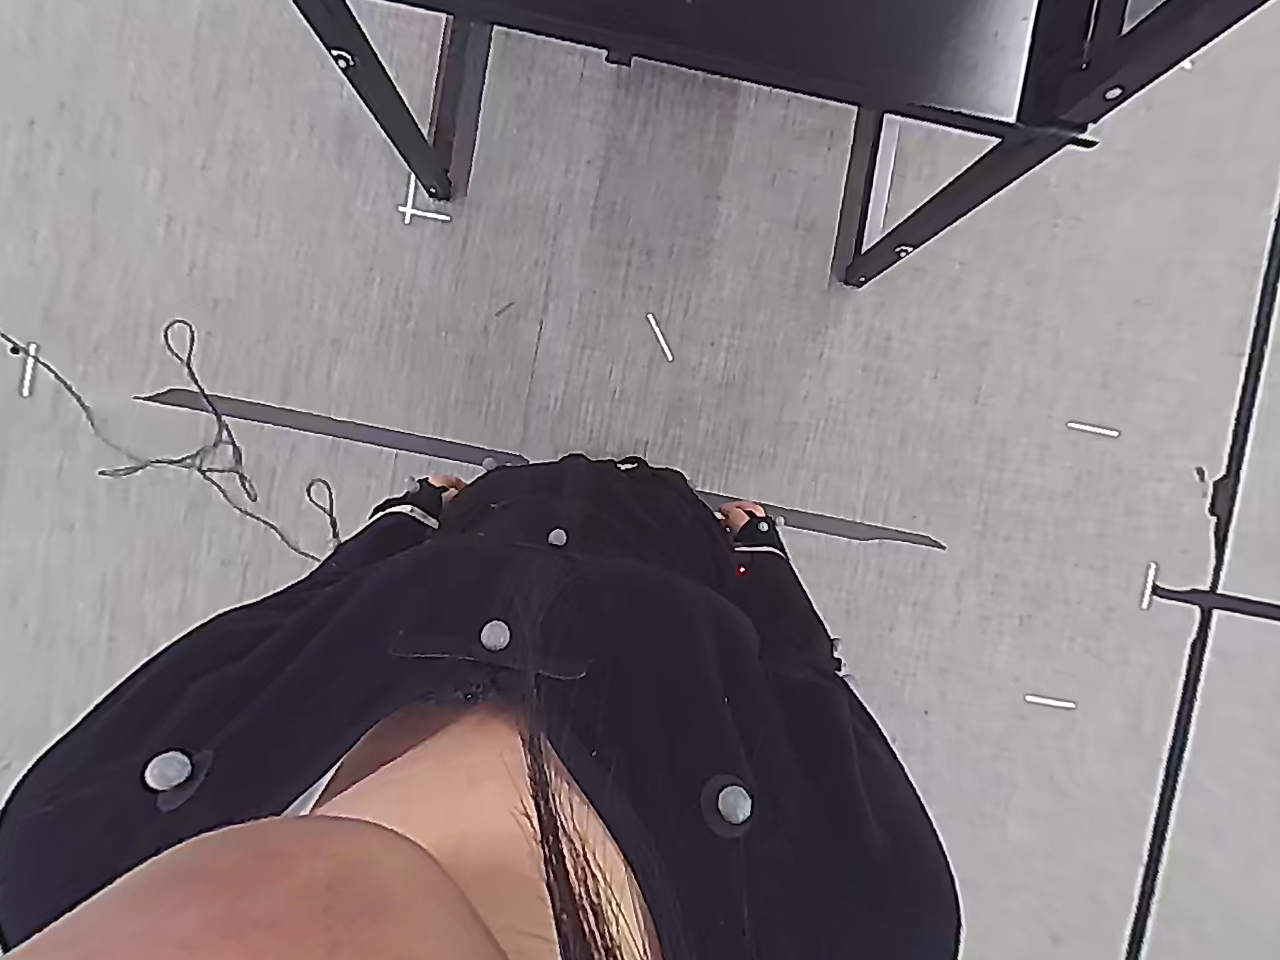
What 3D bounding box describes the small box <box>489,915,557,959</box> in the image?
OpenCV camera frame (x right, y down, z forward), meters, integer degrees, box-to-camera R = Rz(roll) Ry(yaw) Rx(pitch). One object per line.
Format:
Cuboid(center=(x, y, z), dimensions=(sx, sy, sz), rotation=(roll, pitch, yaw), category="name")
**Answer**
Cuboid(center=(-0.310, 1.293, 1.426), dimensions=(0.168, 0.176, 0.179), rotation=(1, 92, -4), category="small box")
